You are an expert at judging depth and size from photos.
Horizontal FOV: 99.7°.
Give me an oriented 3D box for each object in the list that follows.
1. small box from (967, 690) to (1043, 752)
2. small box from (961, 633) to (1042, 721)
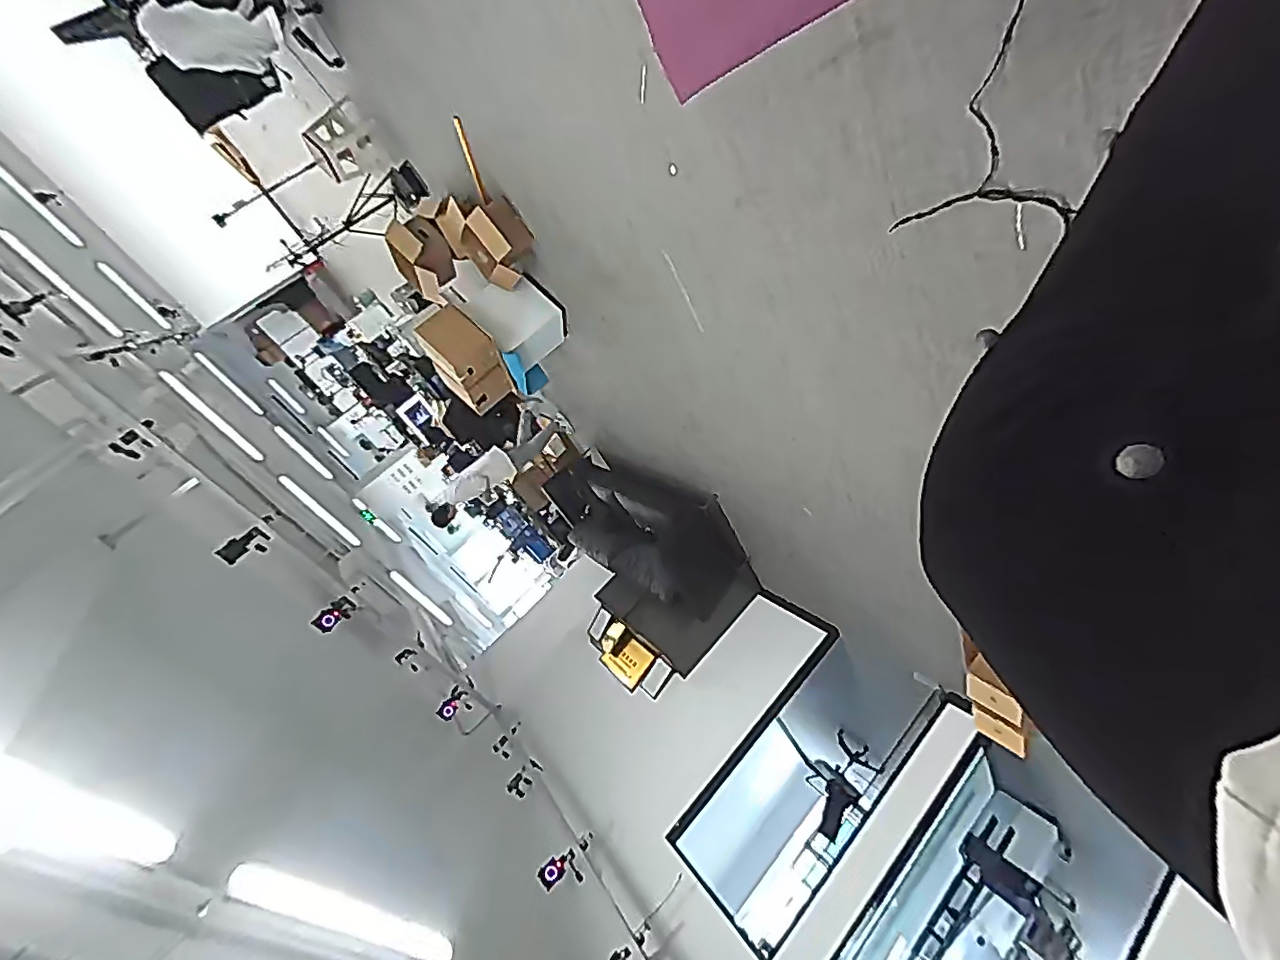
[{"bbox_3d":[1.275,0.800,1.890,0.168,0.176,0.179,27,153,49],"label":"small box"},{"bbox_3d":[1.168,0.631,1.748,0.168,0.176,0.179,30,157,47],"label":"small box"}]
